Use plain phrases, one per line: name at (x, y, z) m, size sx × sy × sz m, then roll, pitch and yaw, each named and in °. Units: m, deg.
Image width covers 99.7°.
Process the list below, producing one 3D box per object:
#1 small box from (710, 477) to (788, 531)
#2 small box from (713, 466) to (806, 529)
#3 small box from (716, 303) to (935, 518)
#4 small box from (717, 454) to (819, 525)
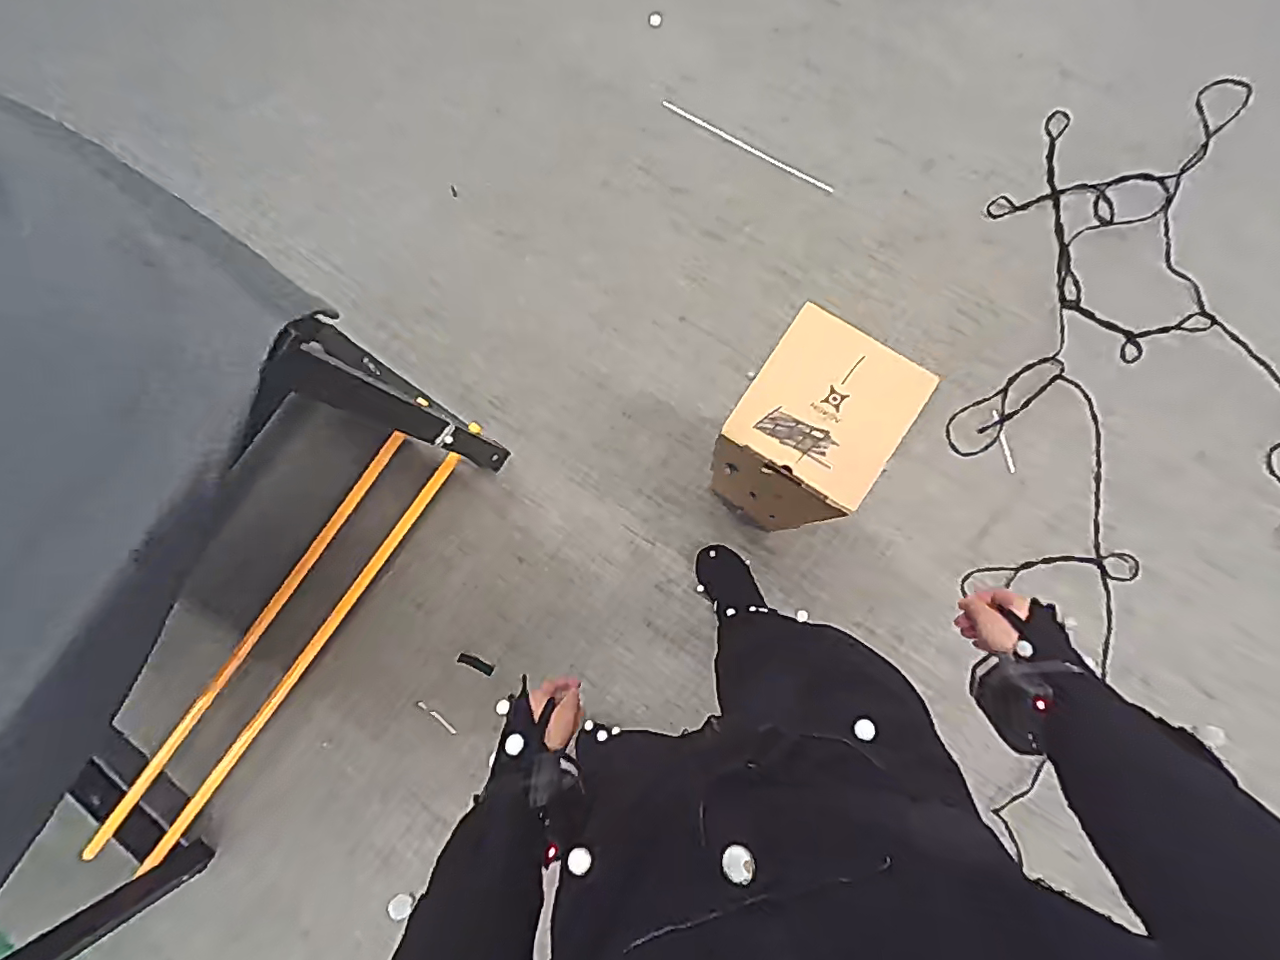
small box at (0.266, -0.009, 1.134) m, size 0.179 × 0.176 × 0.168 m, roll 37°, pitch 87°, yaw 7°
small box at (0.248, -0.025, 0.974) m, size 0.179 × 0.176 × 0.168 m, roll 34°, pitch 86°, yaw 9°
small box at (0.204, -0.068, 0.651) m, size 0.168 × 0.176 × 0.179 m, roll 34°, pitch 86°, yaw 7°
small box at (0.226, -0.049, 0.813) m, size 0.168 × 0.176 × 0.179 m, roll 36°, pitch 88°, yaw 8°
